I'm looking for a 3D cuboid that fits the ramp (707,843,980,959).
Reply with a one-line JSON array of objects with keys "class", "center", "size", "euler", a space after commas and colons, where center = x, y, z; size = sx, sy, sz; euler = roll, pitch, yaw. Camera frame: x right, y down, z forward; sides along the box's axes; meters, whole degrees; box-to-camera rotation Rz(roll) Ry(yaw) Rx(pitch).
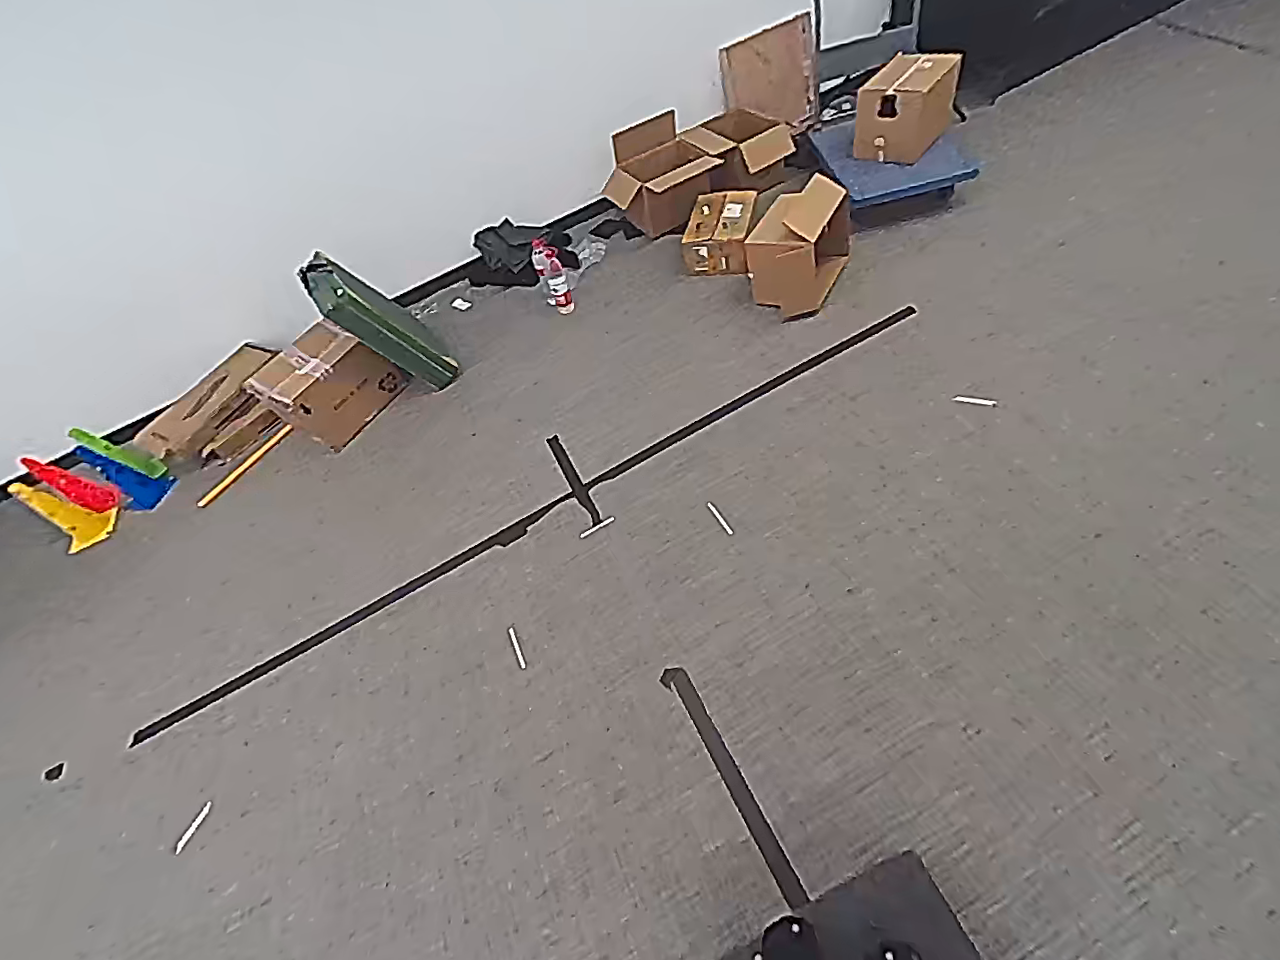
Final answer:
[{"class": "ramp", "center": [0.549, 1.230, 0.860], "size": [0.509, 0.206, 0.991], "euler": [-27, 52, -7]}]
